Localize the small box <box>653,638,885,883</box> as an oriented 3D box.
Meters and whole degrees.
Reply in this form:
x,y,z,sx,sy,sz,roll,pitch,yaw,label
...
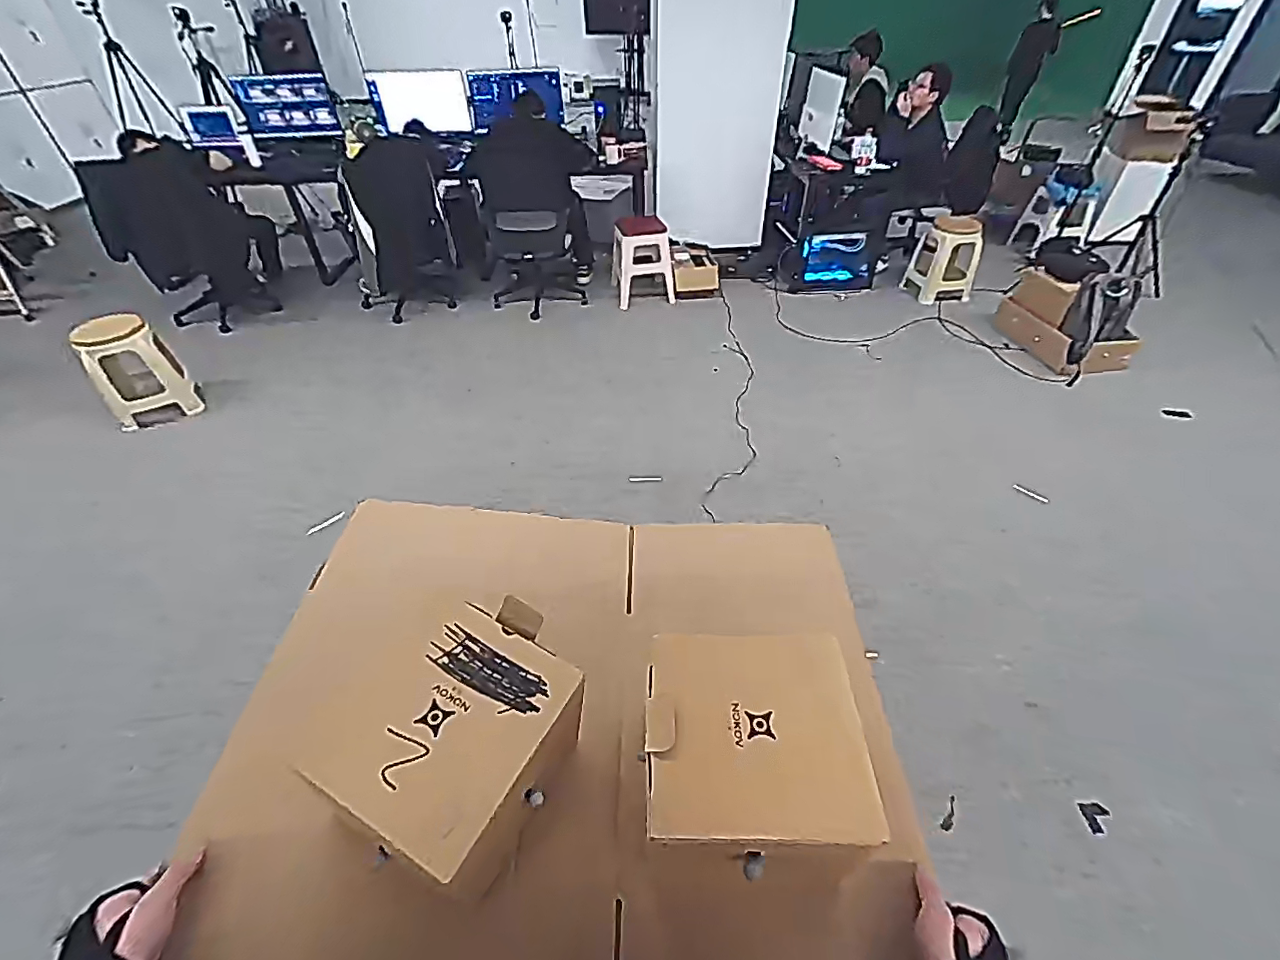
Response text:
x,y,z,sx,sy,sz,roll,pitch,yaw,label
0.101,0.267,0.516,0.179,0.176,0.168,-1,44,2,small box
